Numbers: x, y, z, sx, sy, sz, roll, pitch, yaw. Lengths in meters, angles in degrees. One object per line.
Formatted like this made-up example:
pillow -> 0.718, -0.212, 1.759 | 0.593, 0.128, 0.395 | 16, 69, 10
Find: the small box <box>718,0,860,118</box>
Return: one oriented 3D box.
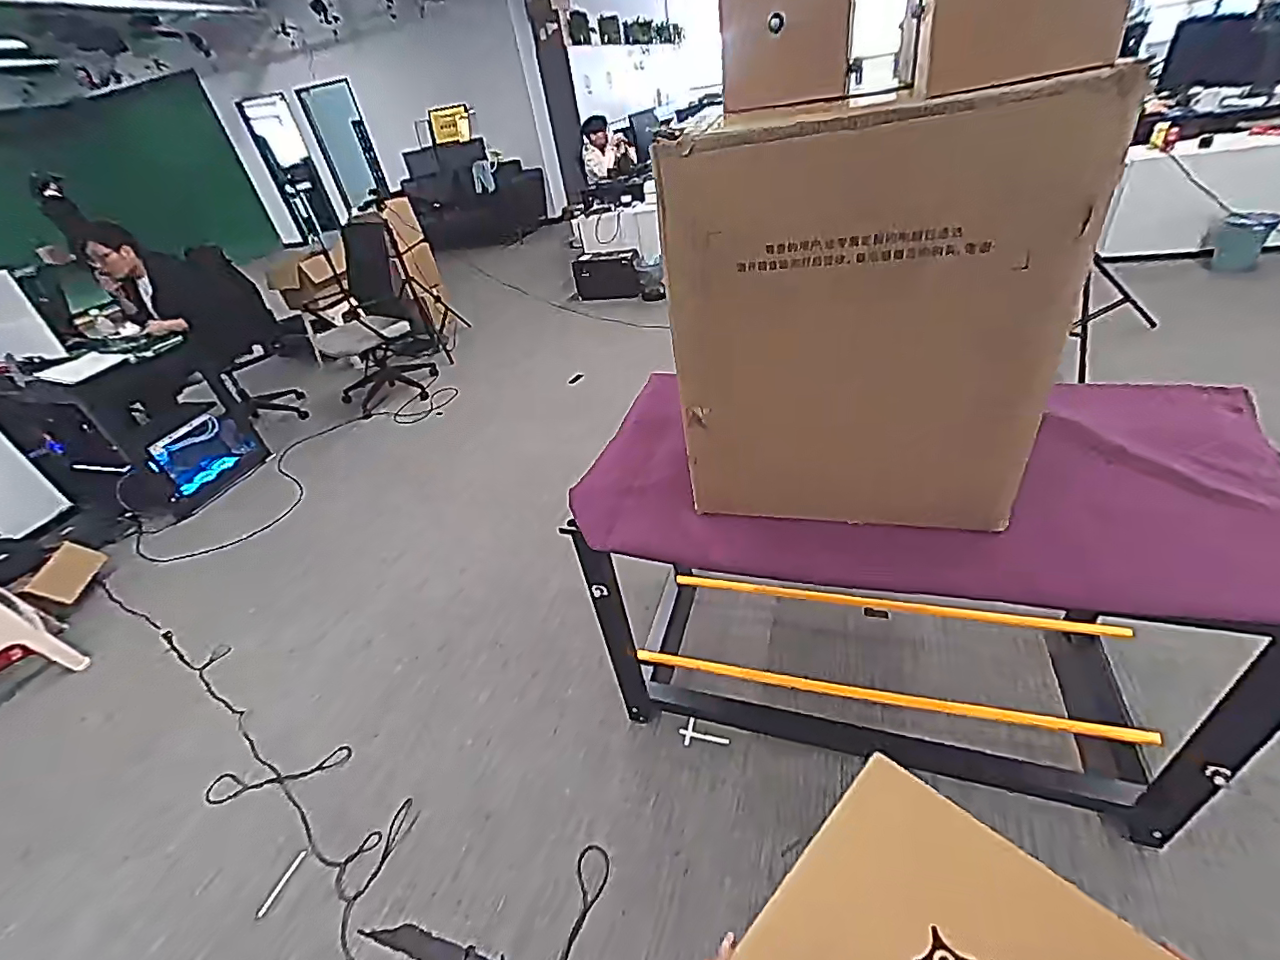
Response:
small box -> 0.222, -0.648, 0.788 | 0.179, 0.176, 0.168 | 5, 37, 23
